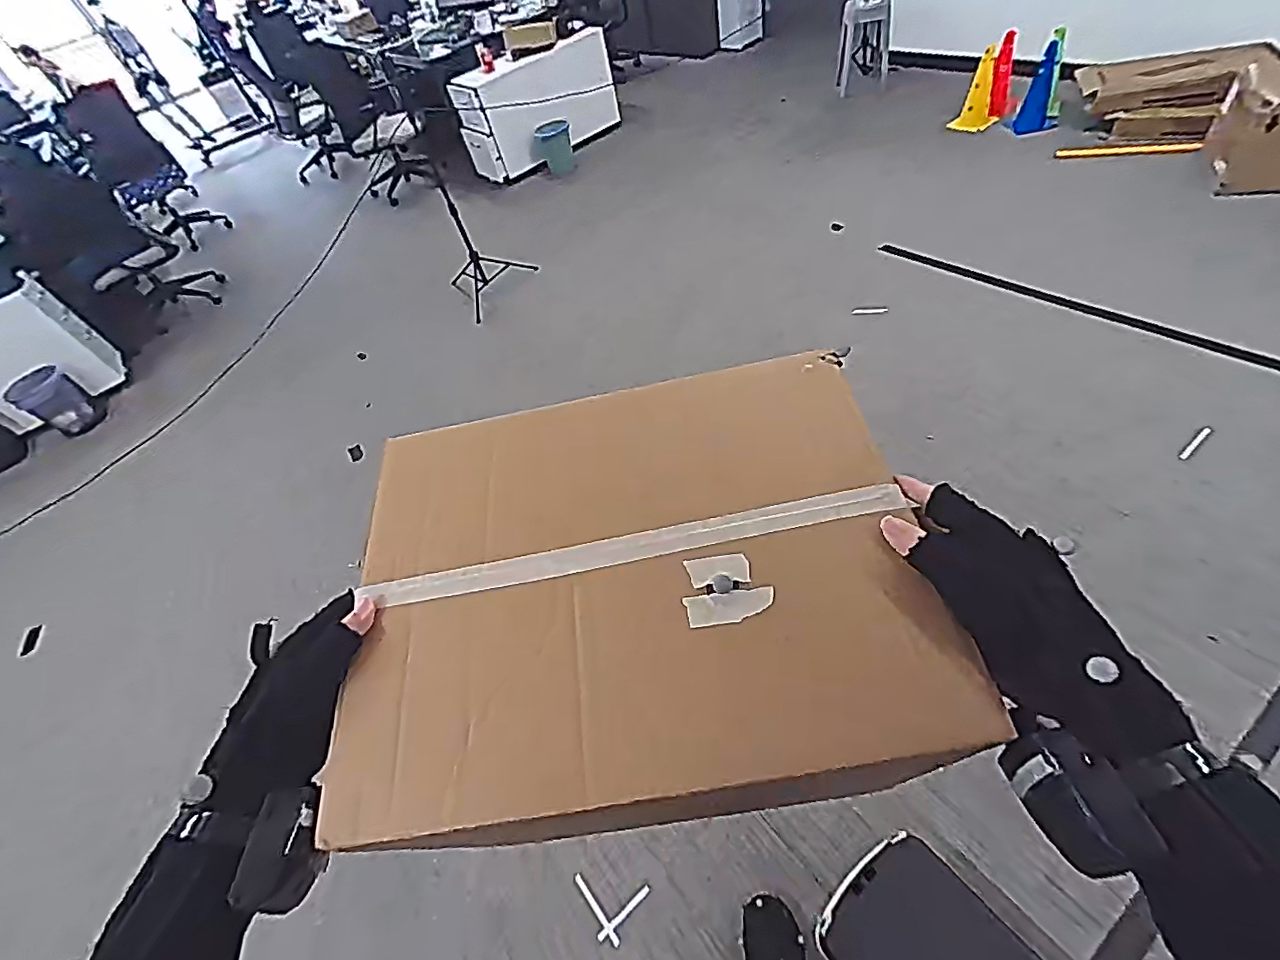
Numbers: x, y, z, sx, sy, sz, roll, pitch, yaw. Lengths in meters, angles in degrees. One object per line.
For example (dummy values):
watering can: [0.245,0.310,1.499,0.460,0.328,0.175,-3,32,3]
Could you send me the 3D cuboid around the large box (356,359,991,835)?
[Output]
large box: [0.016,0.134,0.532,0.408,0.320,0.320,-11,56,3]
